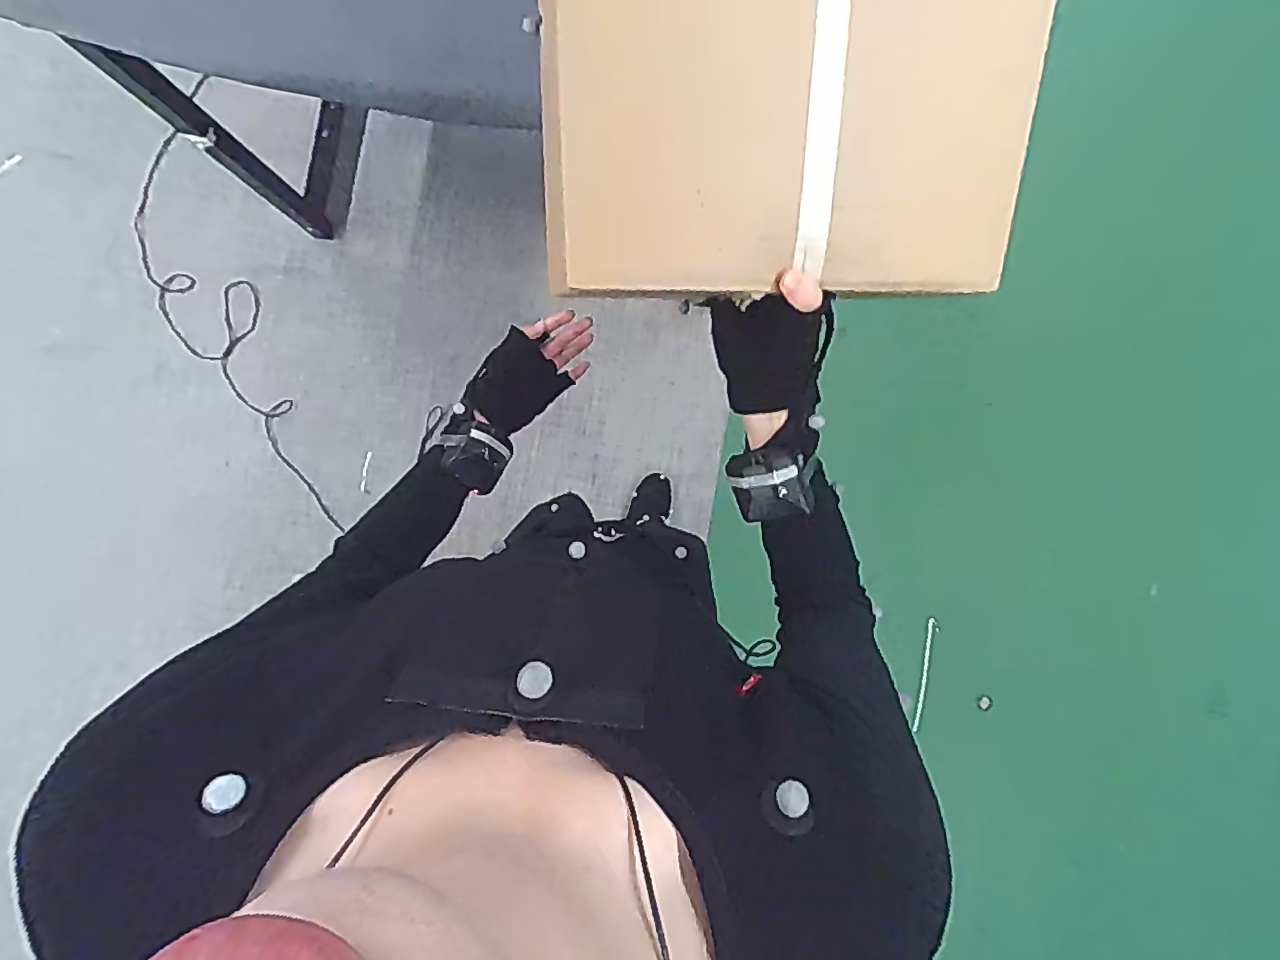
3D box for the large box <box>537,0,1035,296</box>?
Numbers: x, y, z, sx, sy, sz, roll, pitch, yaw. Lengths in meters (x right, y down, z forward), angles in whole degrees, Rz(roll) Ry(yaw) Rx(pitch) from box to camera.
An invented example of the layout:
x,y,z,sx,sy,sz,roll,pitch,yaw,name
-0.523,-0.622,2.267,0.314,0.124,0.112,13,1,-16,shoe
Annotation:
x,y,z,sx,sy,sz,roll,pitch,yaw,name
0.074,-0.371,0.446,0.320,0.320,0.408,-3,107,-10,large box
